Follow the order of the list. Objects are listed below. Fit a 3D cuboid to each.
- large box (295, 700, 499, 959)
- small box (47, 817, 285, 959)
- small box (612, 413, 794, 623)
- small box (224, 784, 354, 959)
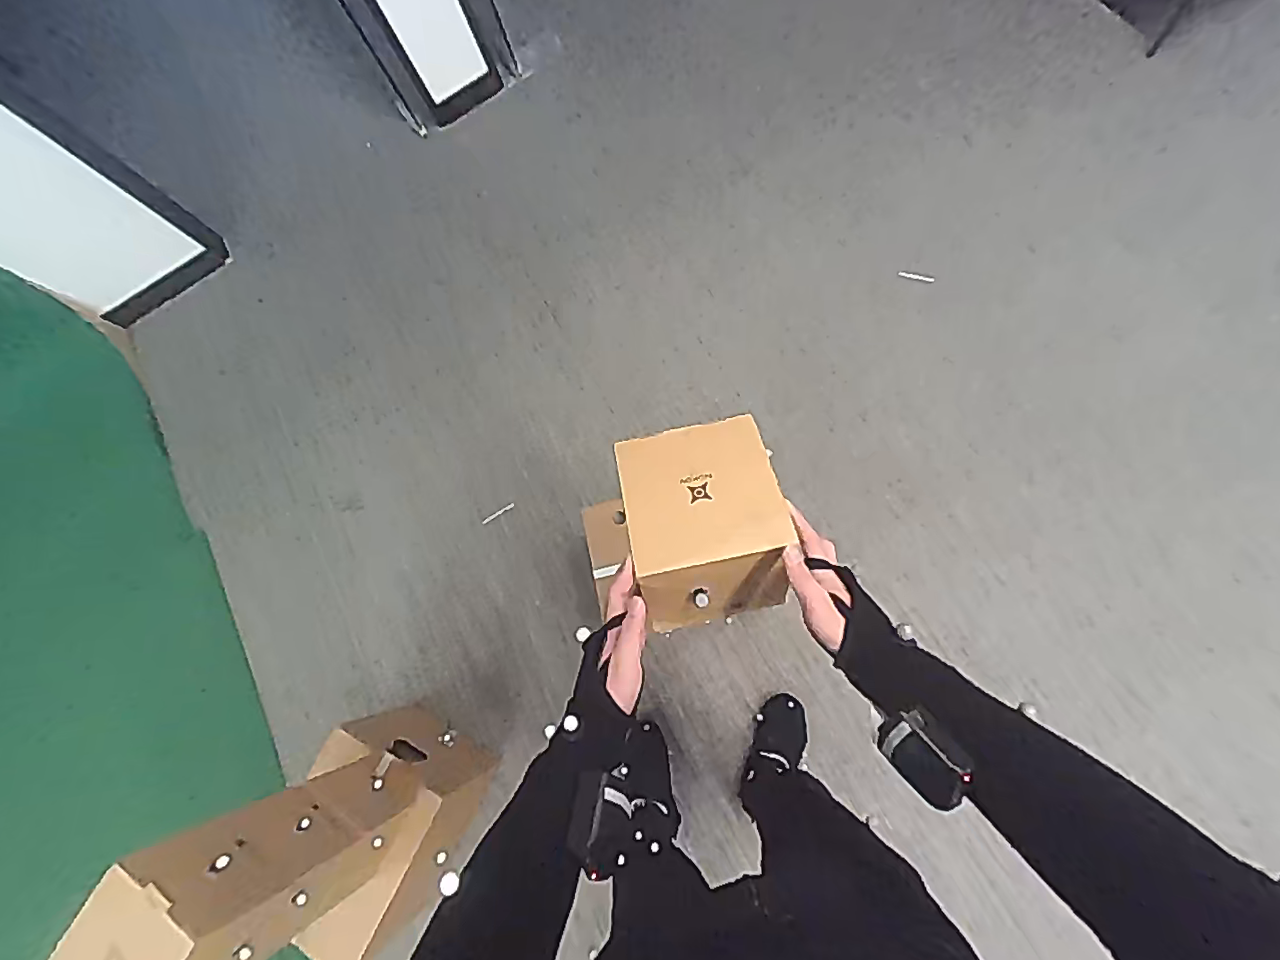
[{"bbox_3d":[-0.611,0.815,1.314,0.320,0.320,0.408,24,82,15],"label":"large box"},{"bbox_3d":[-0.654,0.626,0.768,0.168,0.176,0.179,30,82,15],"label":"small box"},{"bbox_3d":[0.071,0.054,0.636,0.168,0.176,0.179,-12,53,1],"label":"small box"},{"bbox_3d":[-0.632,0.664,0.926,0.168,0.176,0.179,29,83,15],"label":"small box"}]
